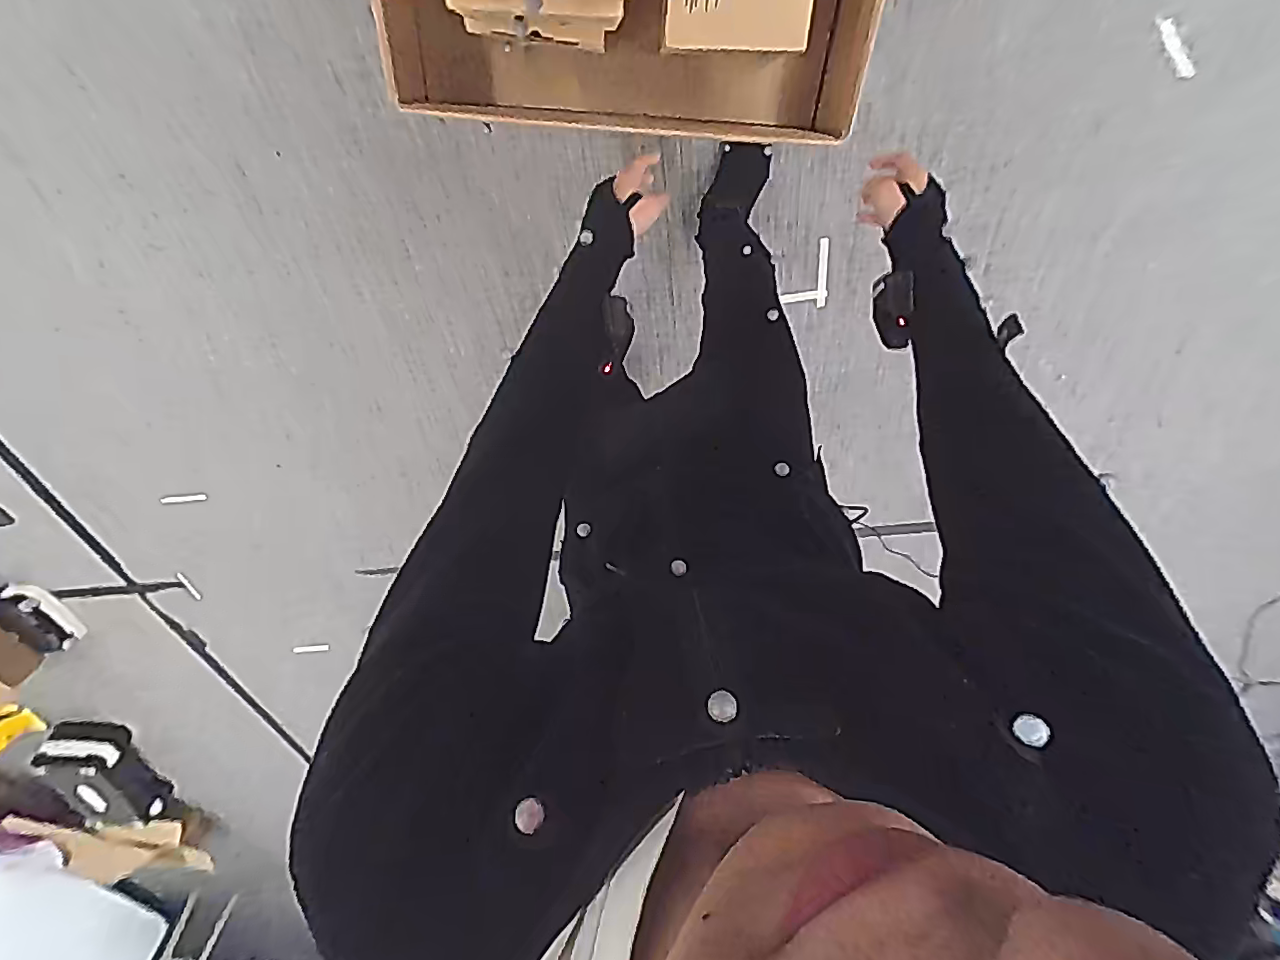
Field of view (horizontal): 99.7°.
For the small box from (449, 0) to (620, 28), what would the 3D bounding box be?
[{"bbox_3d":[-0.099,-0.560,0.523,0.168,0.176,0.179,0,125,-5],"label":"small box"}]
